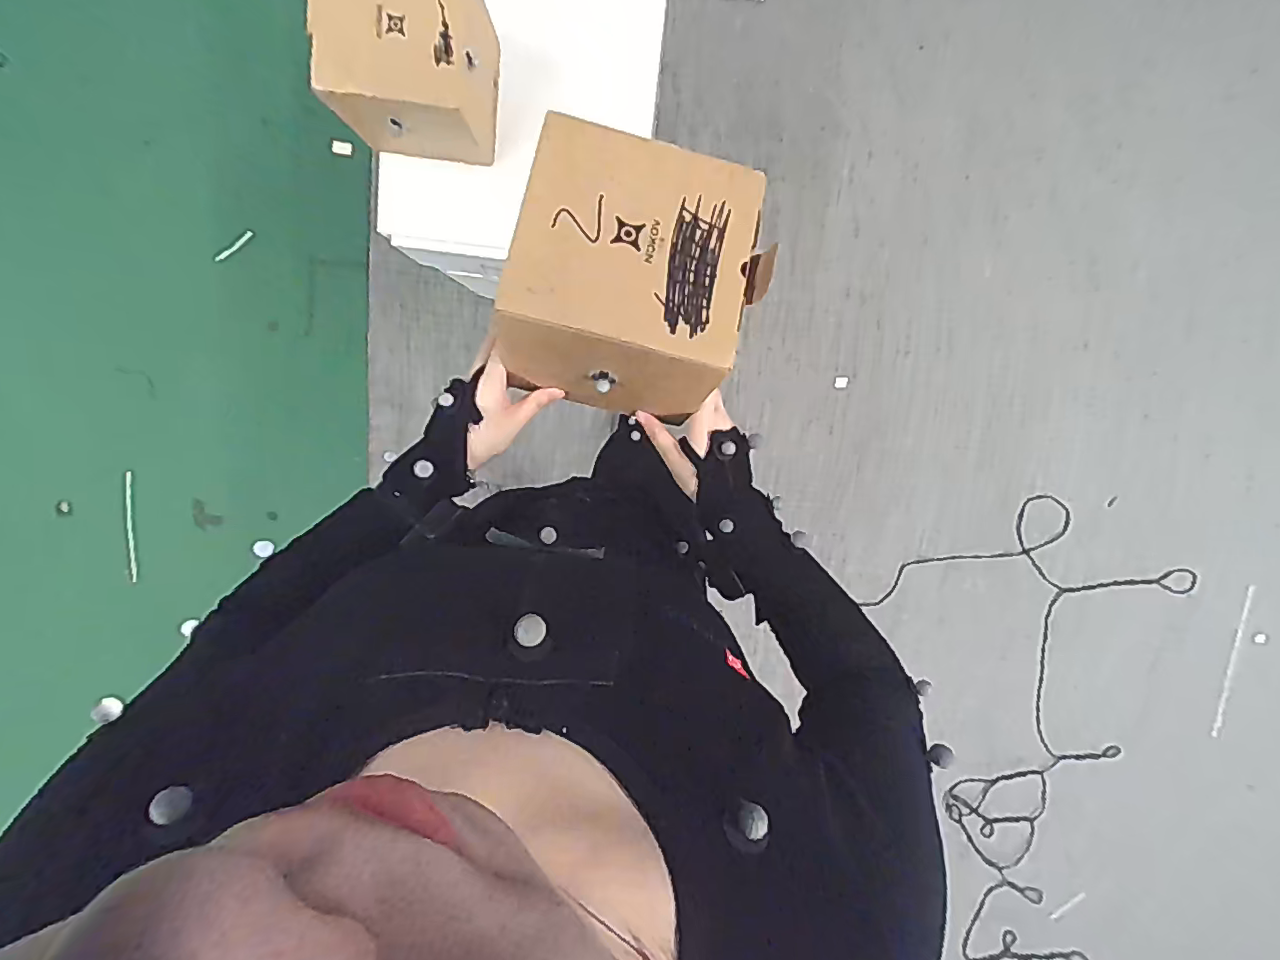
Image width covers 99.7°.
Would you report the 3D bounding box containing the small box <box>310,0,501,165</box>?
[{"bbox_3d":[-0.292,-0.535,0.702,0.179,0.176,0.168,6,100,-3],"label":"small box"}]
